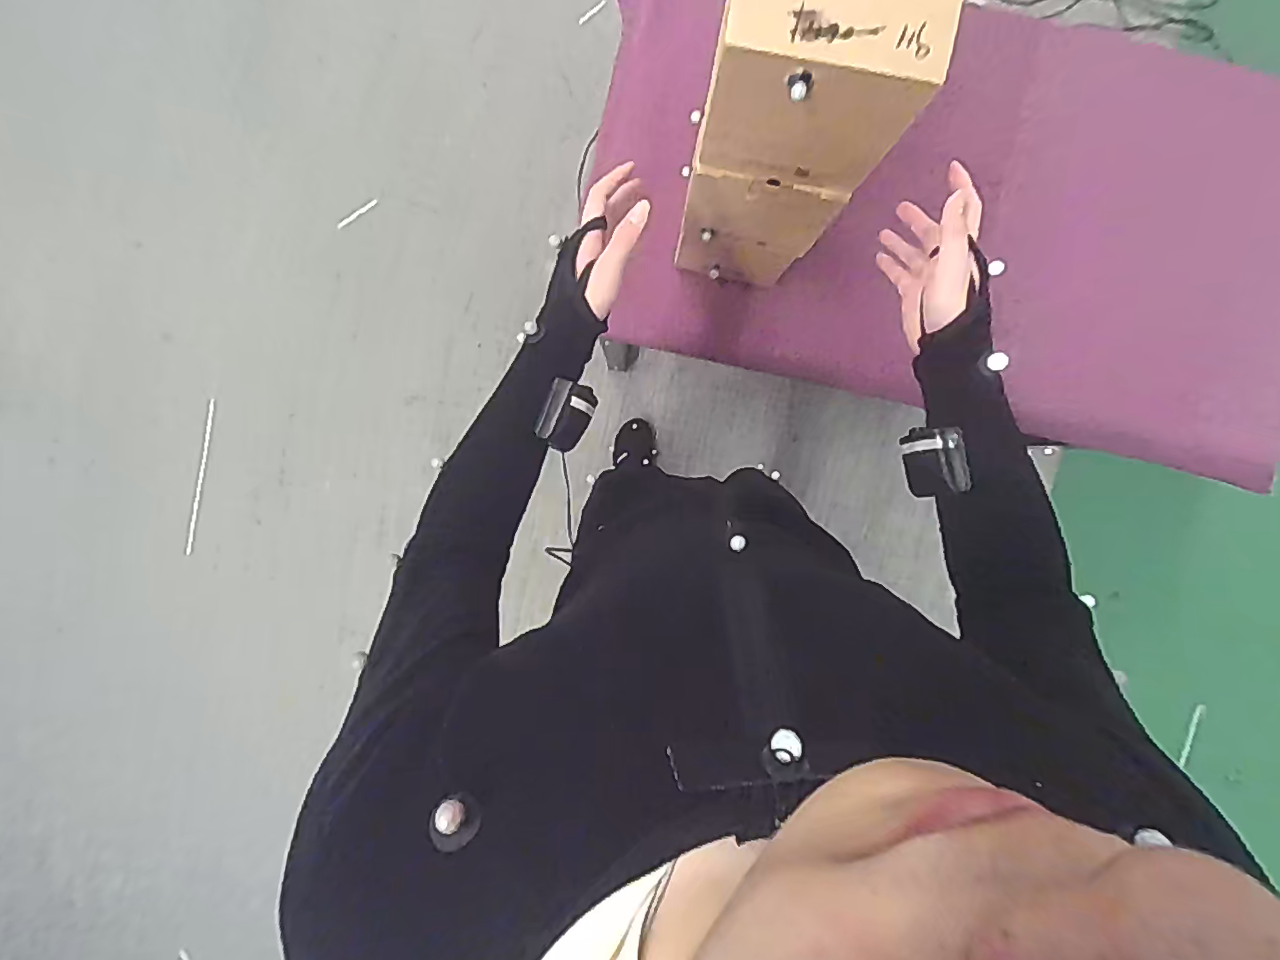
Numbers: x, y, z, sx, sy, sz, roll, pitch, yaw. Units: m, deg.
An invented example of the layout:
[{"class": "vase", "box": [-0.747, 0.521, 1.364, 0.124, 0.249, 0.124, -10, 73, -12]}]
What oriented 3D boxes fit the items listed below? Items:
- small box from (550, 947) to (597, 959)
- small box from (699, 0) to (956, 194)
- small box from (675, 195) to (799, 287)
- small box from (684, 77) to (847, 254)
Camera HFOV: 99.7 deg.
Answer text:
[{"class": "small box", "box": [-0.213, 1.545, 1.588, 0.168, 0.176, 0.179, 19, 93, -2]}, {"class": "small box", "box": [0.150, -0.385, 0.465, 0.168, 0.176, 0.179, 10, 92, 0]}, {"class": "small box", "box": [0.149, -0.405, 0.792, 0.168, 0.176, 0.179, 11, 94, -1]}, {"class": "small box", "box": [0.148, -0.387, 0.629, 0.168, 0.176, 0.179, 11, 92, -1]}]
